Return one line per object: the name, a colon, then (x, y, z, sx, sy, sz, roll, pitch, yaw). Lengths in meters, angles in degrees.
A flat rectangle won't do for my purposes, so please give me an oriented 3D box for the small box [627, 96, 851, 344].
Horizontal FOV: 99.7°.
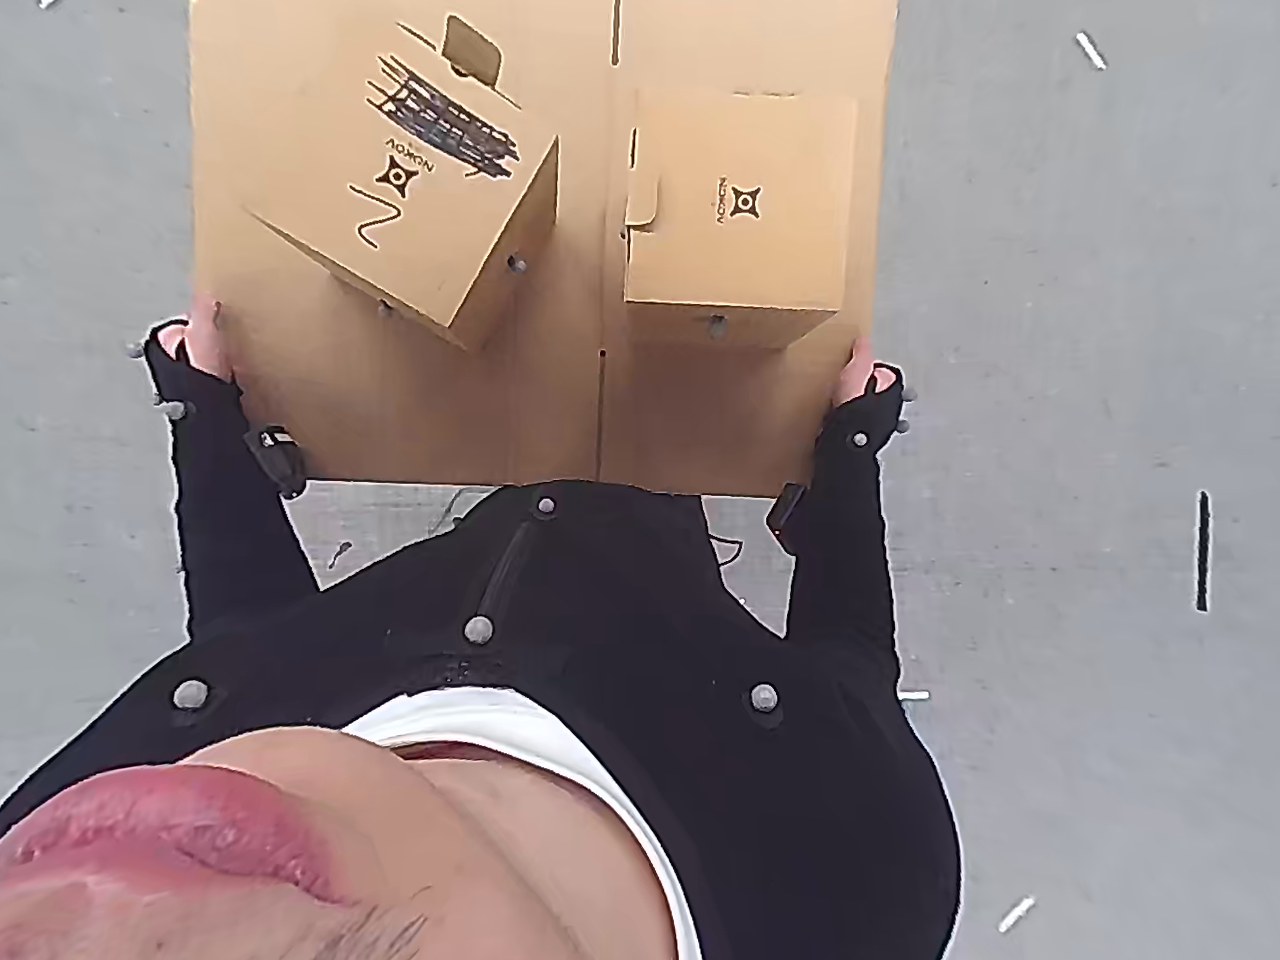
small box: (0.081, -0.230, 0.521, 0.179, 0.176, 0.168, 3, 94, 1)
